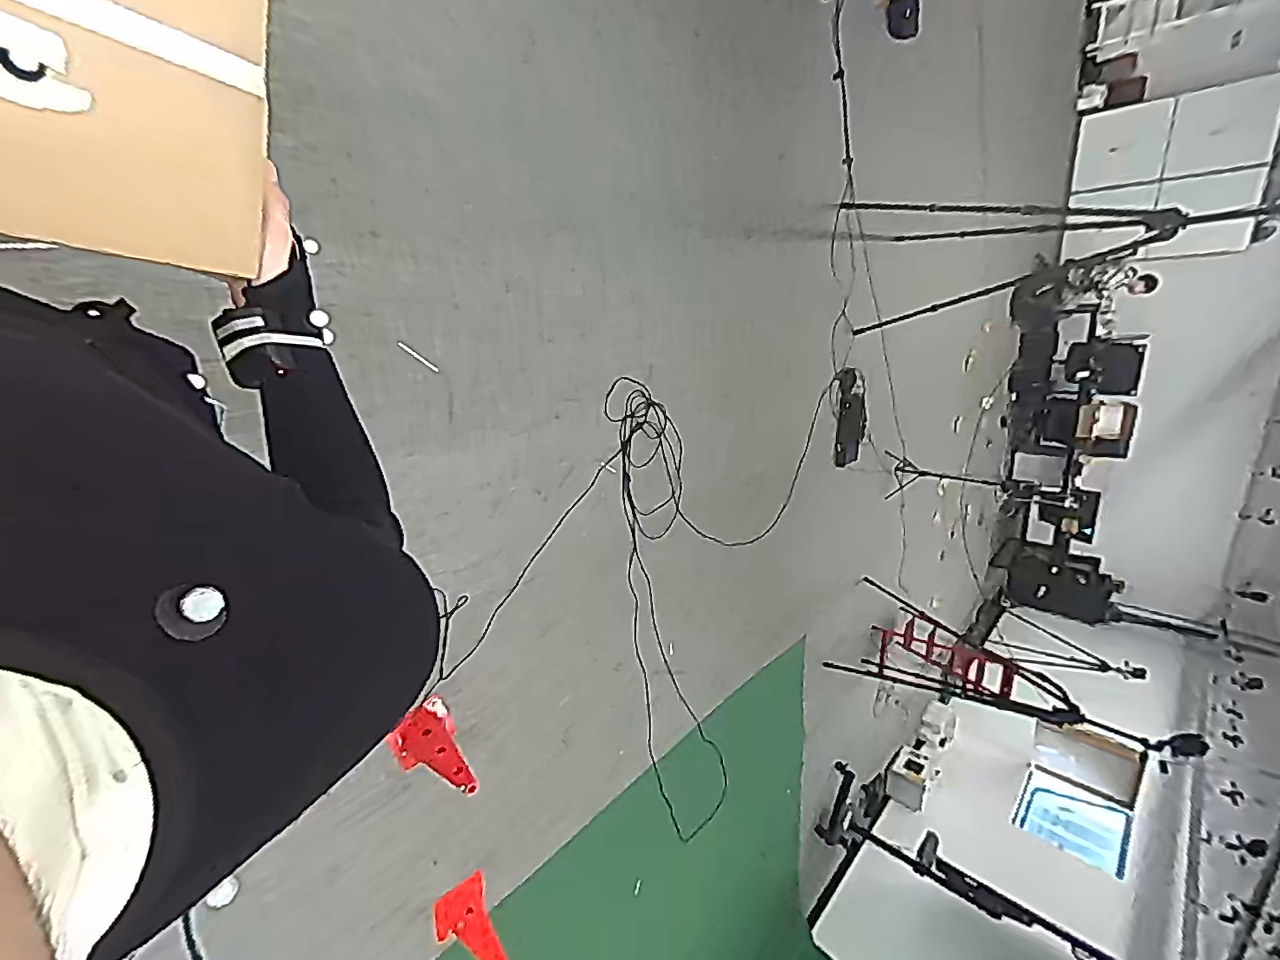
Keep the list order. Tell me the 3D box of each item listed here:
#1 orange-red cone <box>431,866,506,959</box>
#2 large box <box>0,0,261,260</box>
[{"bbox_3d":[-0.593,1.661,1.989,0.199,0.360,0.198,-12,110,-45],"label":"orange-red cone"},{"bbox_3d":[-0.553,-0.377,0.380,0.408,0.320,0.320,-8,120,-50],"label":"large box"}]
